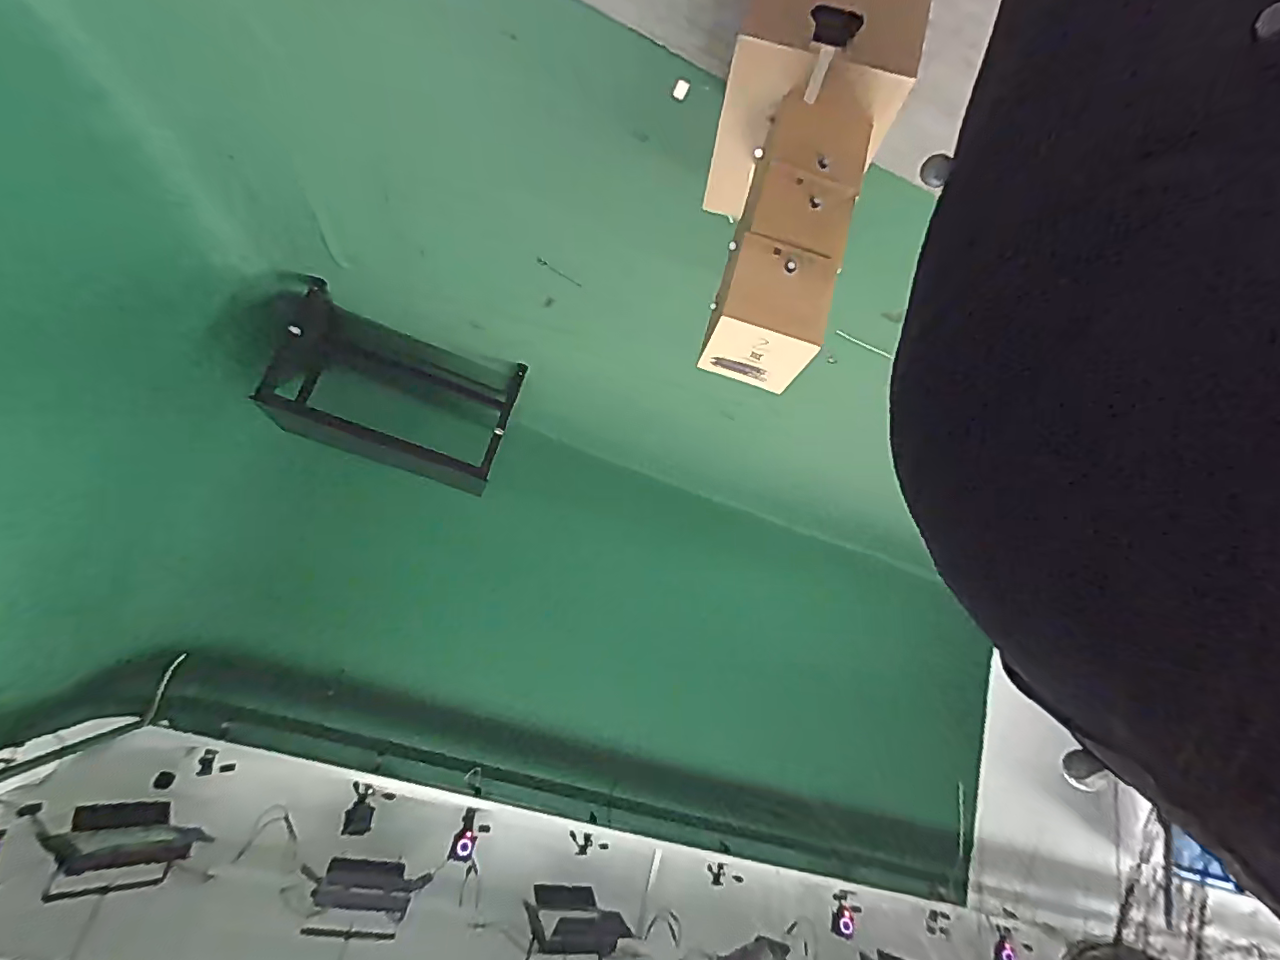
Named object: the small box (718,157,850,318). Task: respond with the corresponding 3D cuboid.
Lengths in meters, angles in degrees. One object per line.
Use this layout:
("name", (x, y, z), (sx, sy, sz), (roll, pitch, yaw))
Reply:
("small box", (0.260, -0.432, 0.981), (0.168, 0.176, 0.179), (17, 163, -5))

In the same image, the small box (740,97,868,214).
("small box", (0.309, -0.579, 1.029), (0.179, 0.176, 0.168), (17, 164, -3))

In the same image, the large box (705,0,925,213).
("large box", (0.344, -0.808, 1.121), (0.320, 0.320, 0.408), (17, 166, 2))
